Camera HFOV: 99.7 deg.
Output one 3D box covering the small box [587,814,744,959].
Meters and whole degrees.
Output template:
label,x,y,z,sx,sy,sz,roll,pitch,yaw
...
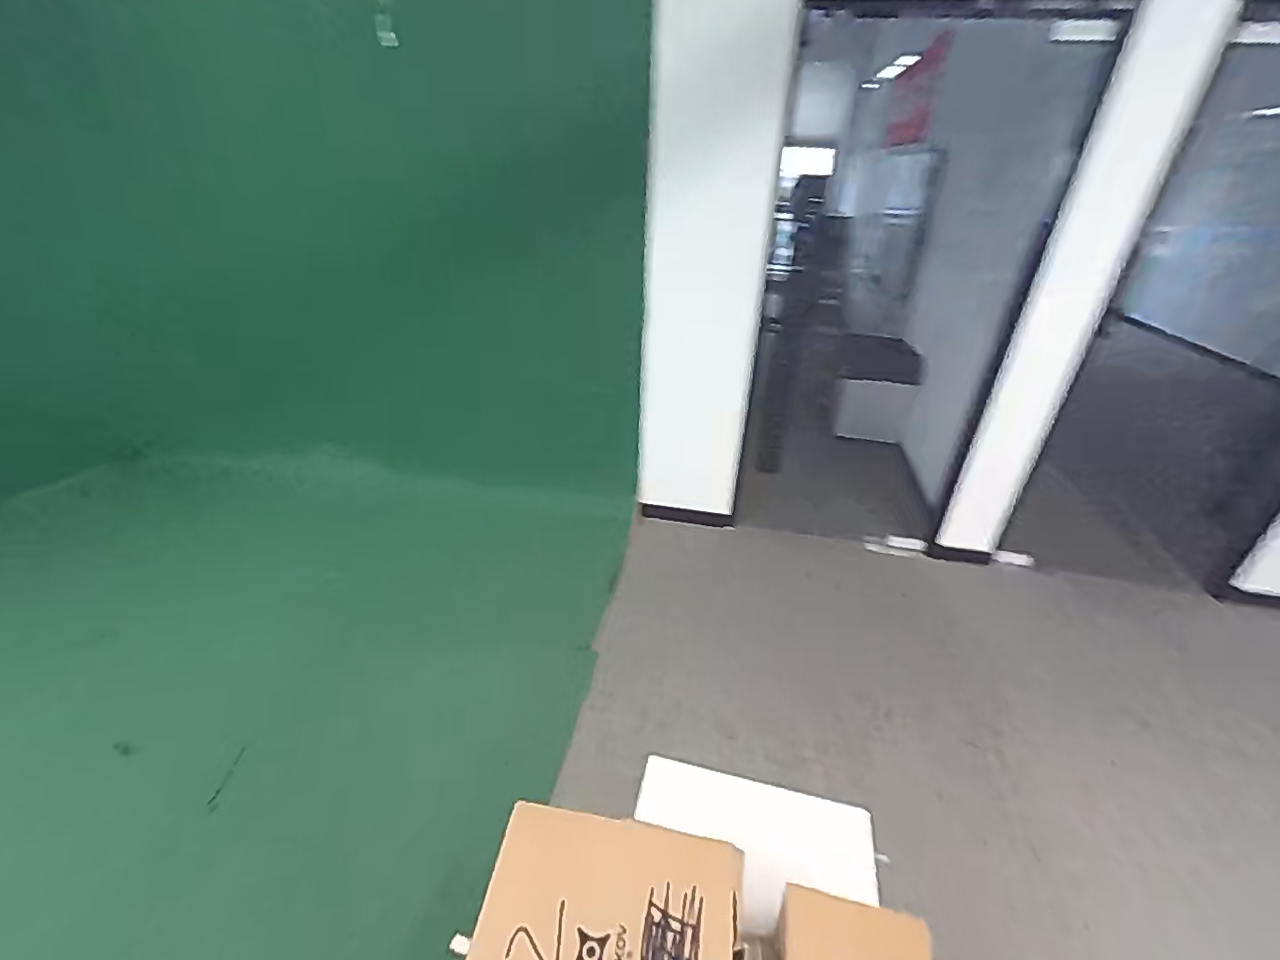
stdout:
label,x,y,z,sx,sy,sz,roll,pitch,yaw
small box,0.037,0.600,0.733,0.179,0.176,0.168,10,31,11
